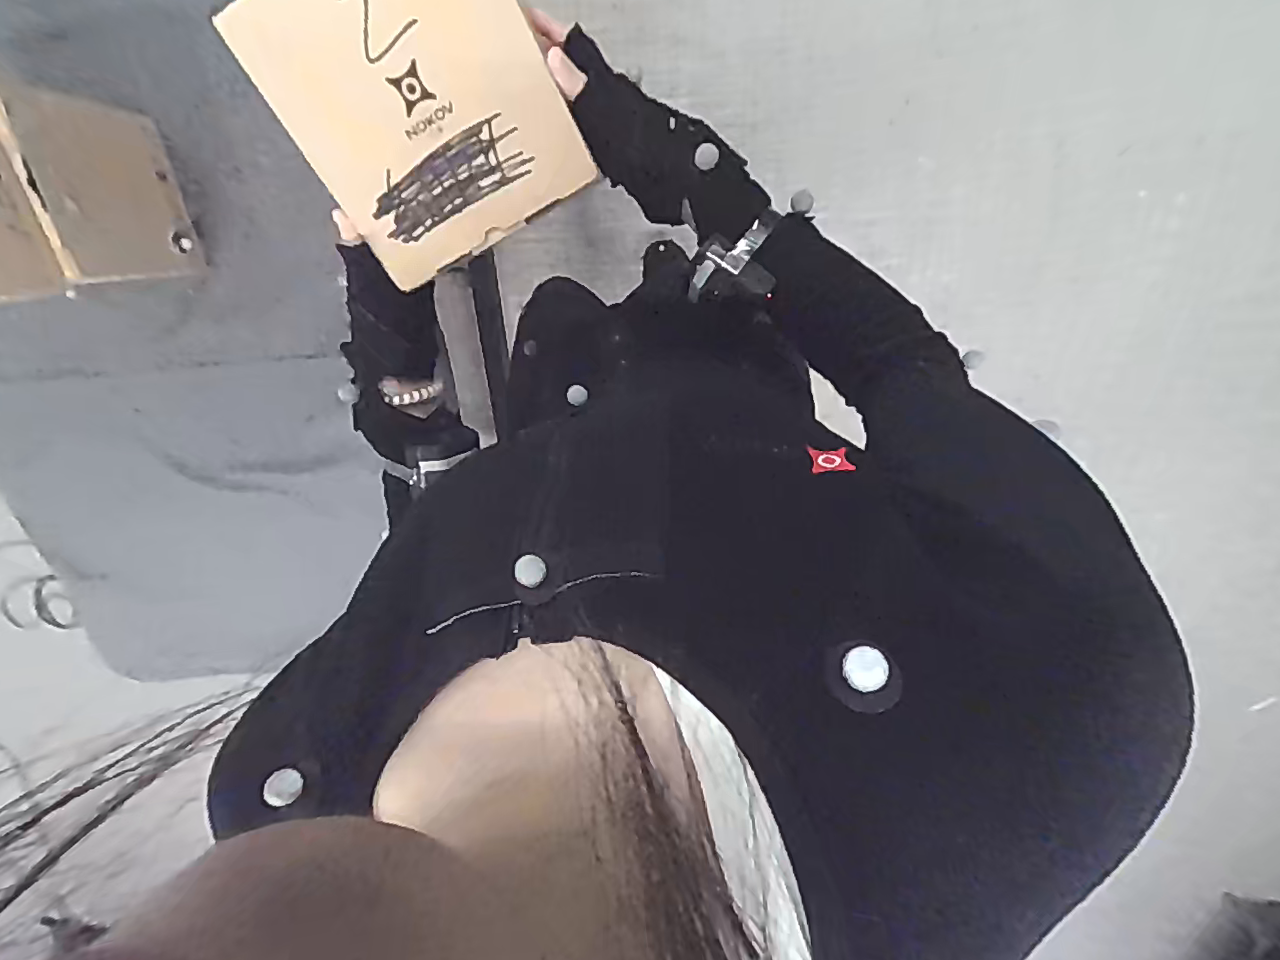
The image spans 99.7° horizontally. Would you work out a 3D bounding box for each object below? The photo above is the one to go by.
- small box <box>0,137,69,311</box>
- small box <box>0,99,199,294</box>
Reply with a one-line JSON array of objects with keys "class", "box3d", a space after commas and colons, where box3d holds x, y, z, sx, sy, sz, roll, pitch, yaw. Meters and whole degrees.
[{"class": "small box", "box3d": [-0.659, -0.216, 0.444, 0.179, 0.176, 0.168, -5, 113, 5]}, {"class": "small box", "box3d": [-0.635, -0.293, 0.588, 0.179, 0.176, 0.168, -3, 113, 6]}]
